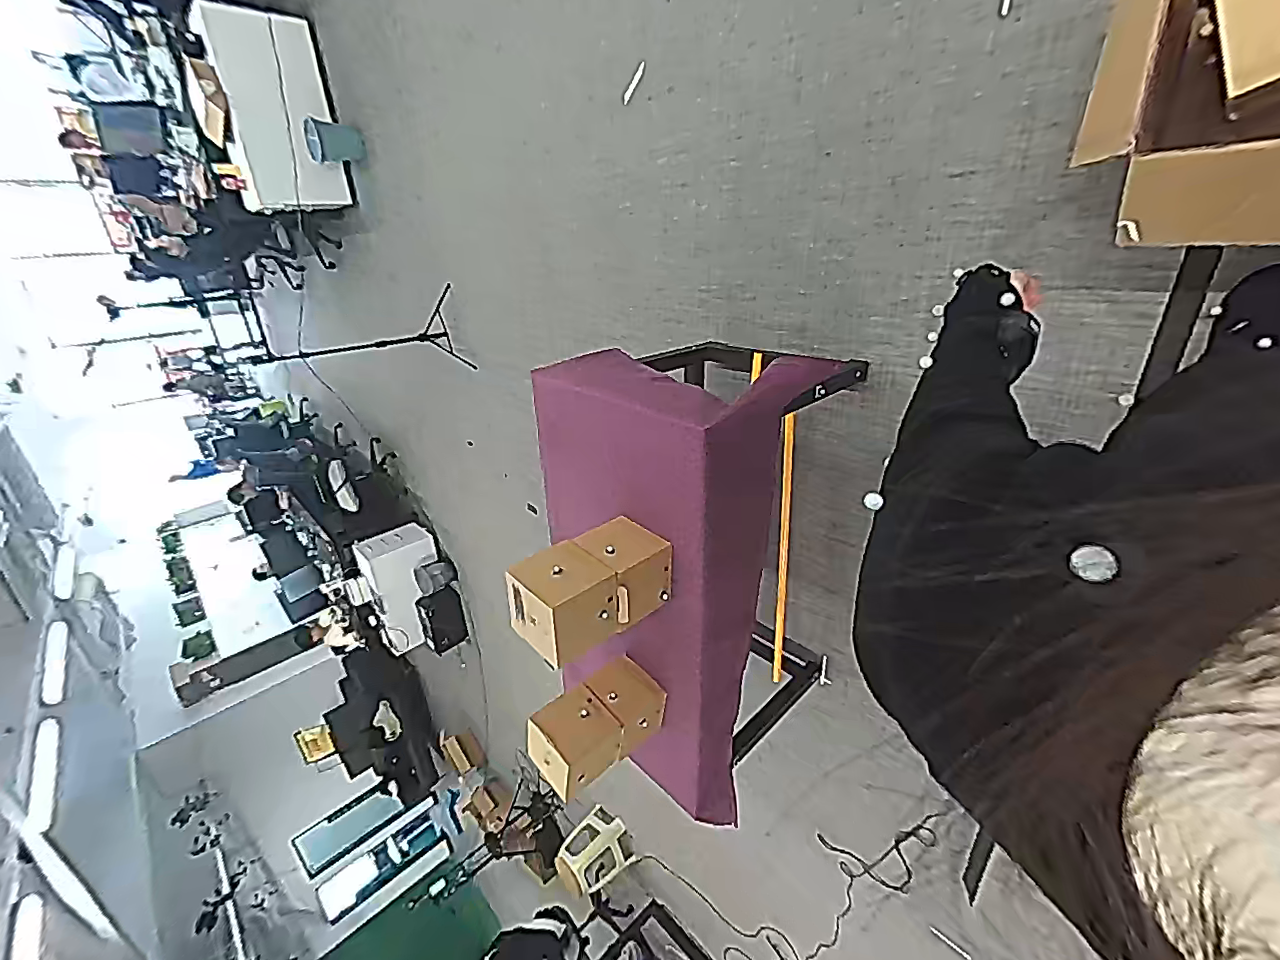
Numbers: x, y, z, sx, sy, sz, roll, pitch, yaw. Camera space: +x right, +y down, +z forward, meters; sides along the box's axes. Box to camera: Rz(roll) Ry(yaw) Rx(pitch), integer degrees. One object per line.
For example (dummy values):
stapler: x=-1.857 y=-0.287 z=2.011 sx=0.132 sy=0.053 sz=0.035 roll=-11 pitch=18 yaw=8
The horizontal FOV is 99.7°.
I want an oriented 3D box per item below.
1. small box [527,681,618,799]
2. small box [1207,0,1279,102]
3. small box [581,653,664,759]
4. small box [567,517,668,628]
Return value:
small box: x=-0.173 y=0.660 z=1.388 sx=0.168 sy=0.176 sz=0.179 roll=34 pitch=131 yaw=33
small box: x=0.845 y=-0.613 z=0.678 sx=0.179 sy=0.176 sz=0.168 roll=-8 pitch=104 yaw=47
small box: x=-0.054 y=0.614 z=1.491 sx=0.179 sy=0.176 sz=0.168 roll=34 pitch=131 yaw=35
small box: x=-0.048 y=0.206 z=1.268 sx=0.179 sy=0.176 sz=0.168 roll=26 pitch=127 yaw=41
